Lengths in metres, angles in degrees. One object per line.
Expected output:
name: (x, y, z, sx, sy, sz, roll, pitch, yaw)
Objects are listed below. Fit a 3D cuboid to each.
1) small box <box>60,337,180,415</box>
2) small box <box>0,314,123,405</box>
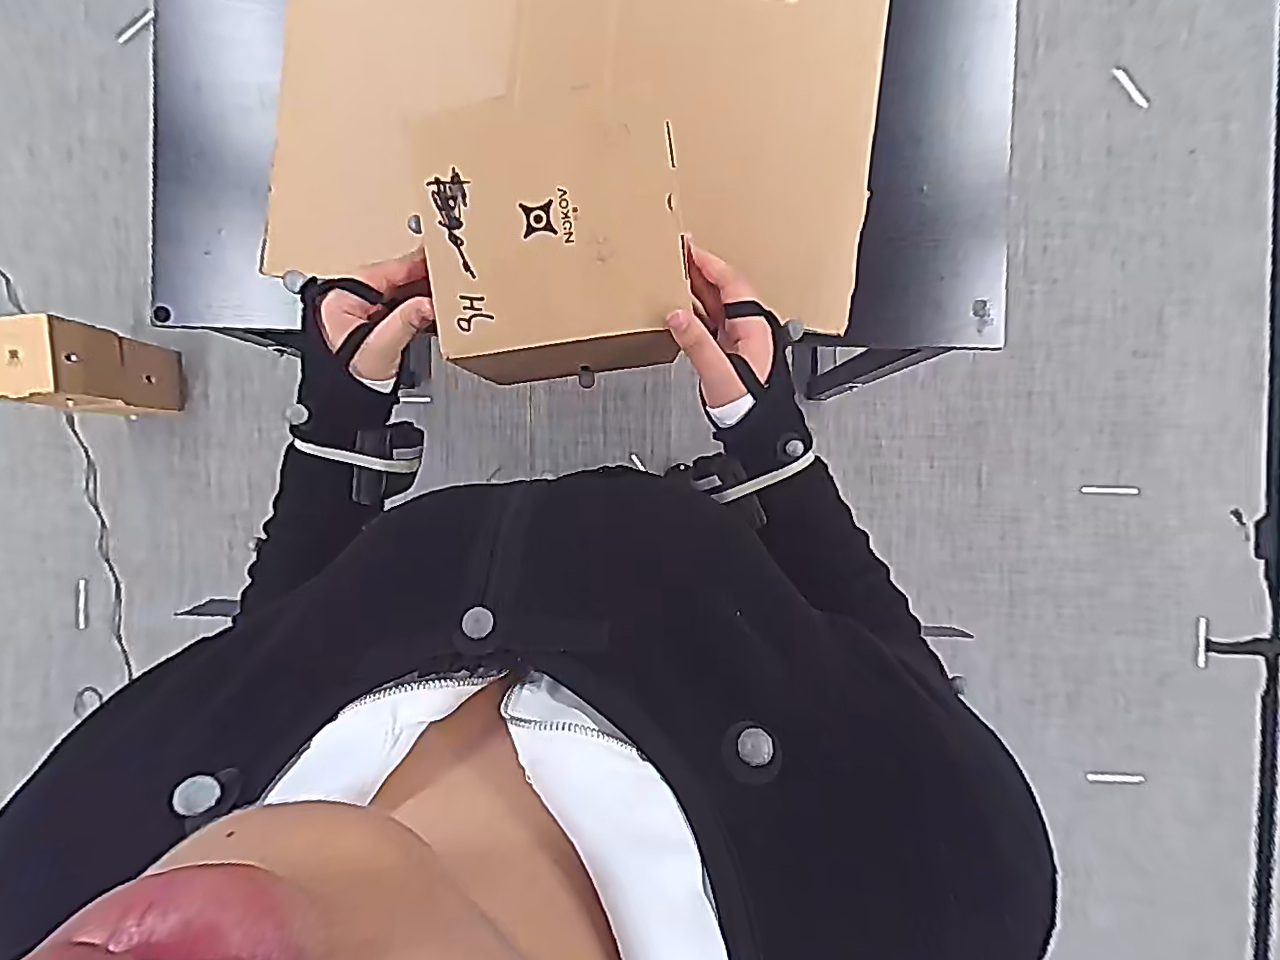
small box: (-1.361, -0.268, 1.421, 0.168, 0.176, 0.179, -2, 92, 0)
small box: (-1.363, -0.272, 1.258, 0.168, 0.176, 0.179, -5, 90, 0)
